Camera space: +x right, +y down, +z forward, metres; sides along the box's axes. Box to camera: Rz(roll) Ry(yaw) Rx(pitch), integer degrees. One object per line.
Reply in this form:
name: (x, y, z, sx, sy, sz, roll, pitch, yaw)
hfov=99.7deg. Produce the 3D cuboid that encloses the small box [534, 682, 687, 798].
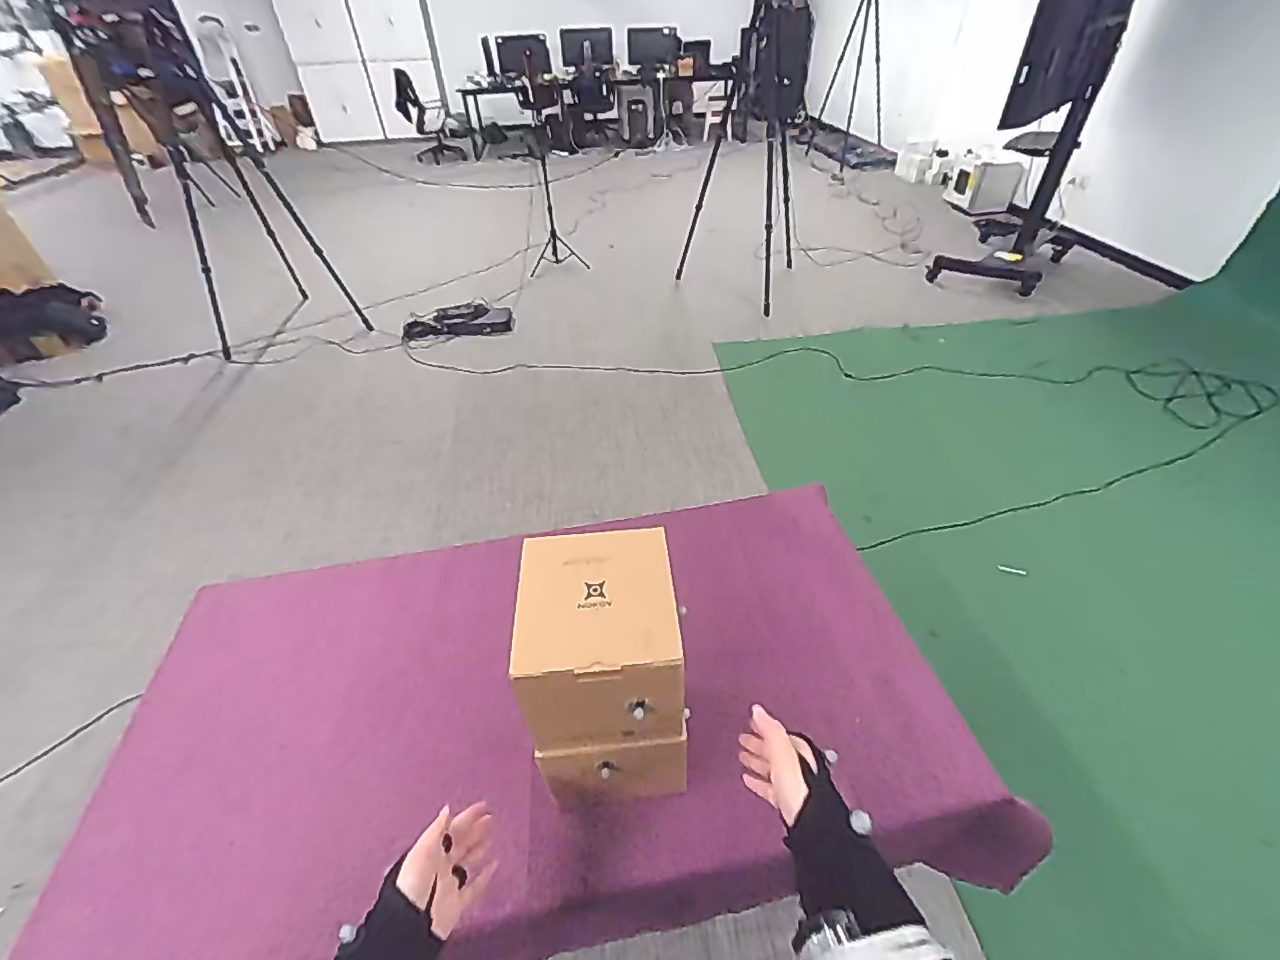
small box: (-0.034, 0.305, 0.724, 0.179, 0.176, 0.168, -6, 43, -1)

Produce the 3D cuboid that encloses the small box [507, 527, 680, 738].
small box: (-0.044, 0.178, 0.621, 0.168, 0.176, 0.179, -4, 41, -1)
